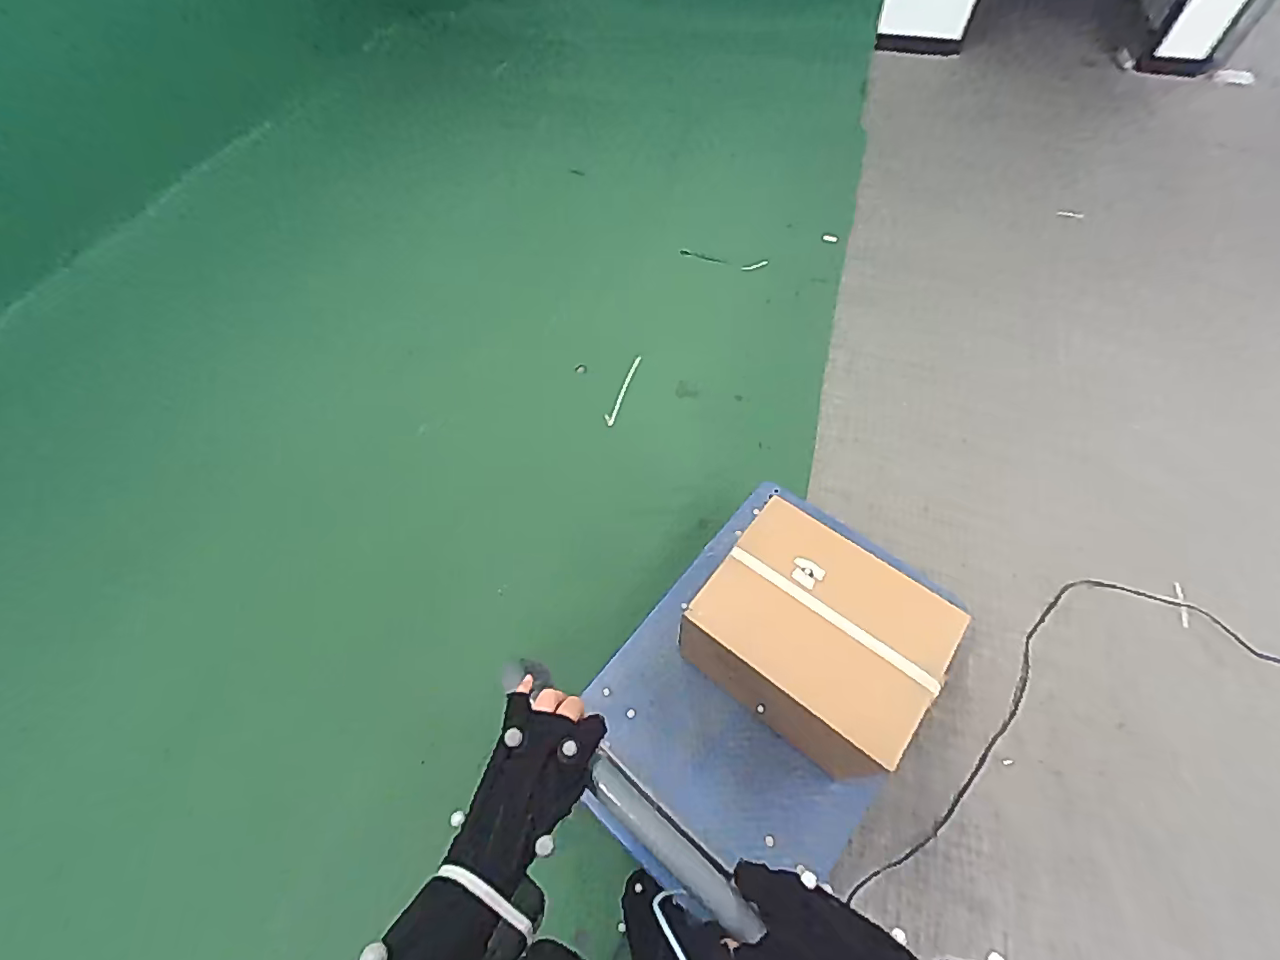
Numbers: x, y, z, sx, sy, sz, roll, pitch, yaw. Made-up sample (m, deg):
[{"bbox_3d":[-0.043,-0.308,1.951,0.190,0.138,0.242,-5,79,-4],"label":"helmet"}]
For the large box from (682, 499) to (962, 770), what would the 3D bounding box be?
[{"bbox_3d":[0.334,0.317,1.096,0.408,0.320,0.320,34,66,21],"label":"large box"}]
